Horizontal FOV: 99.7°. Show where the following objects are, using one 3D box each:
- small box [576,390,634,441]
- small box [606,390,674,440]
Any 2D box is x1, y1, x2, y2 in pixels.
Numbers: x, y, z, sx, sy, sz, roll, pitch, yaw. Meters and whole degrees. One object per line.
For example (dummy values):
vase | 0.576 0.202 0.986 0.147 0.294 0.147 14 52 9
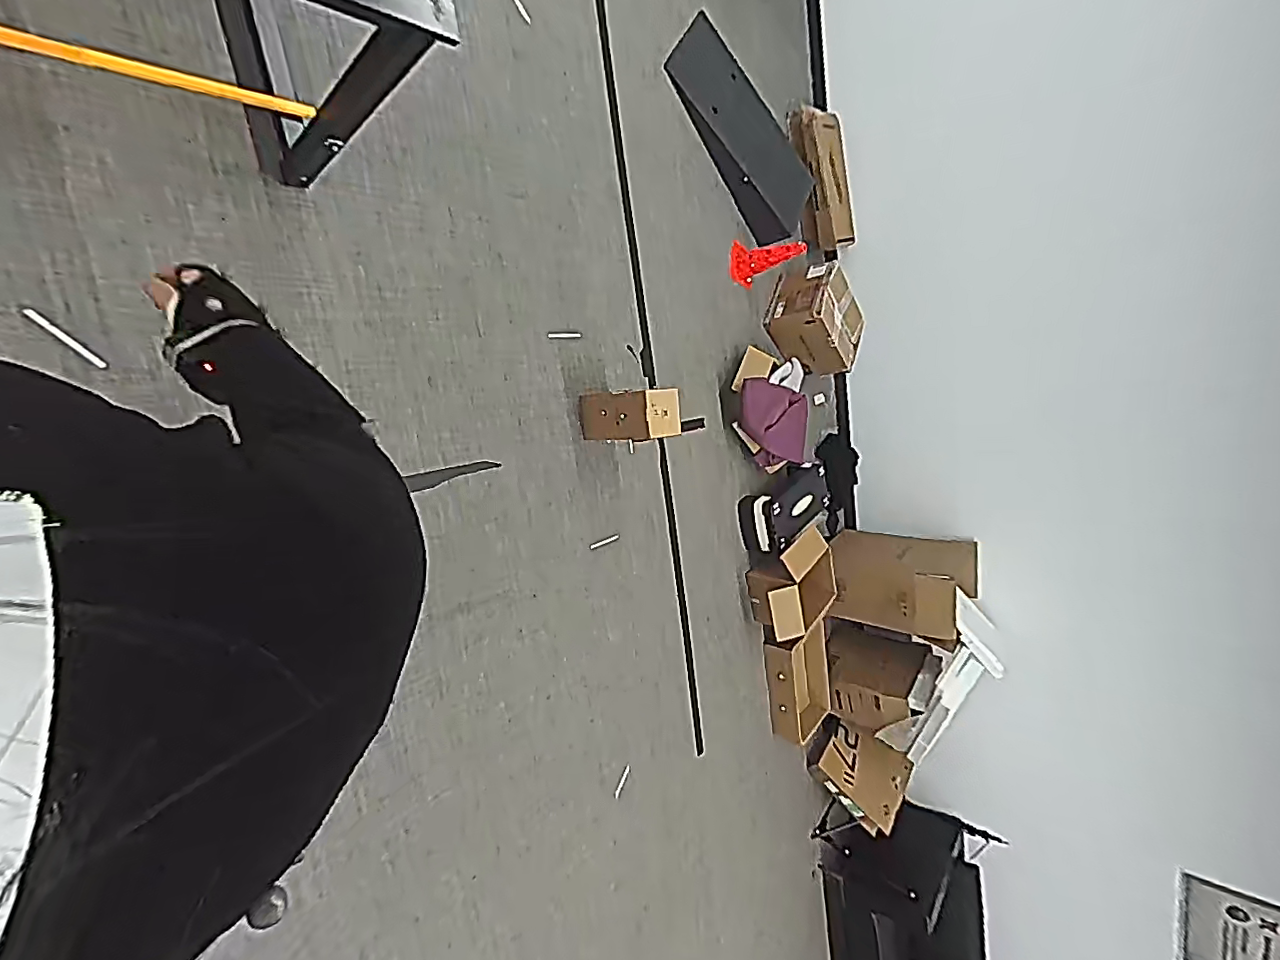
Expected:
small box | -0.125 -0.243 2.037 0.168 0.176 0.179 -13 101 -47
small box | 0.002 -0.233 1.931 0.179 0.176 0.168 -13 101 -47
